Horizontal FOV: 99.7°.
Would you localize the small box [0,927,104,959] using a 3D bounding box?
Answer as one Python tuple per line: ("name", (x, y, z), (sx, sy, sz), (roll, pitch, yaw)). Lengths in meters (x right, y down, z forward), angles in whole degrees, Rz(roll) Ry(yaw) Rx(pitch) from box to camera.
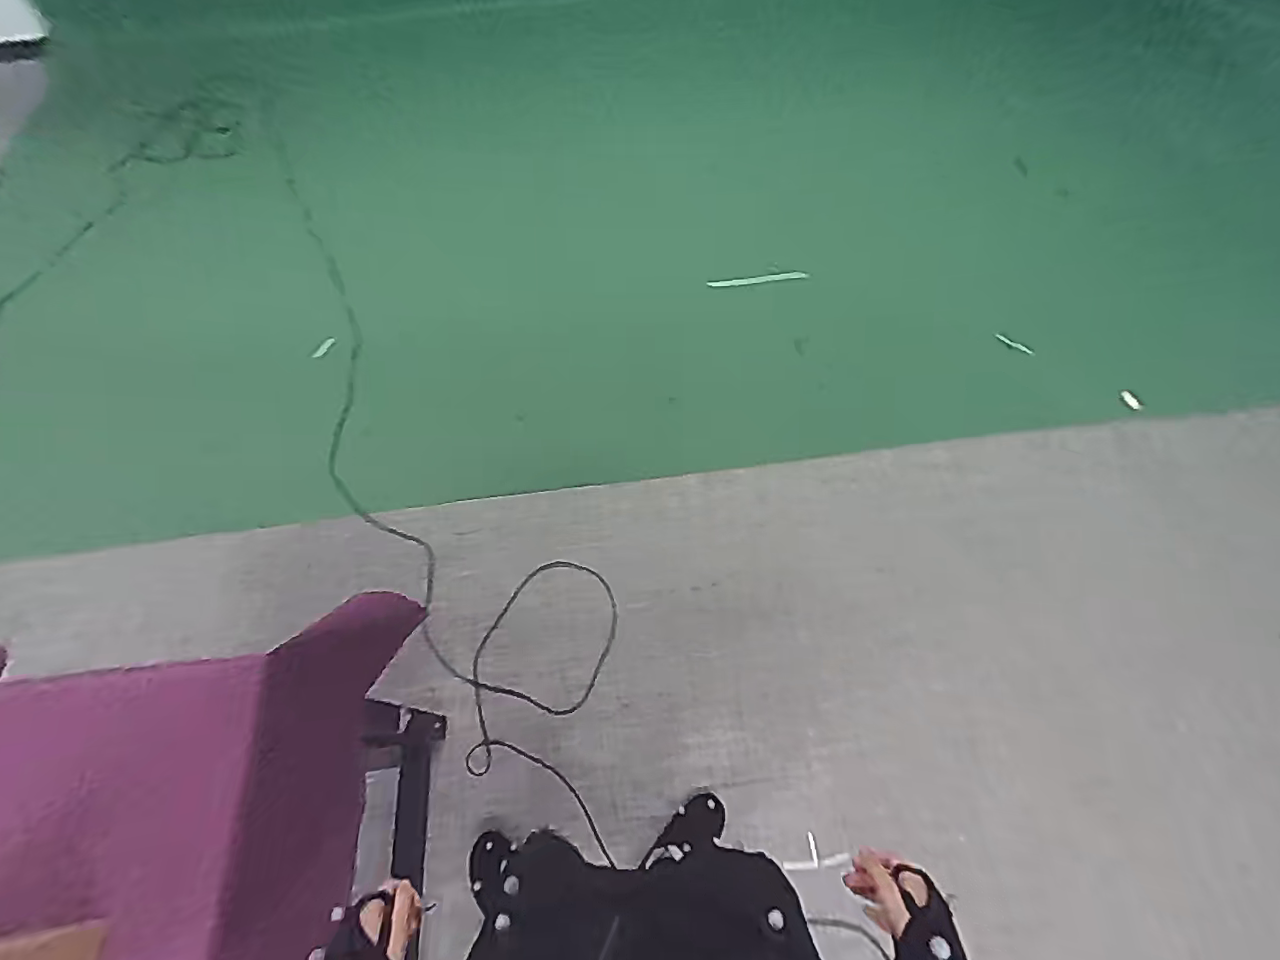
("small box", (-0.641, 0.522, 0.473), (0.168, 0.176, 0.179), (-10, 61, -2))
